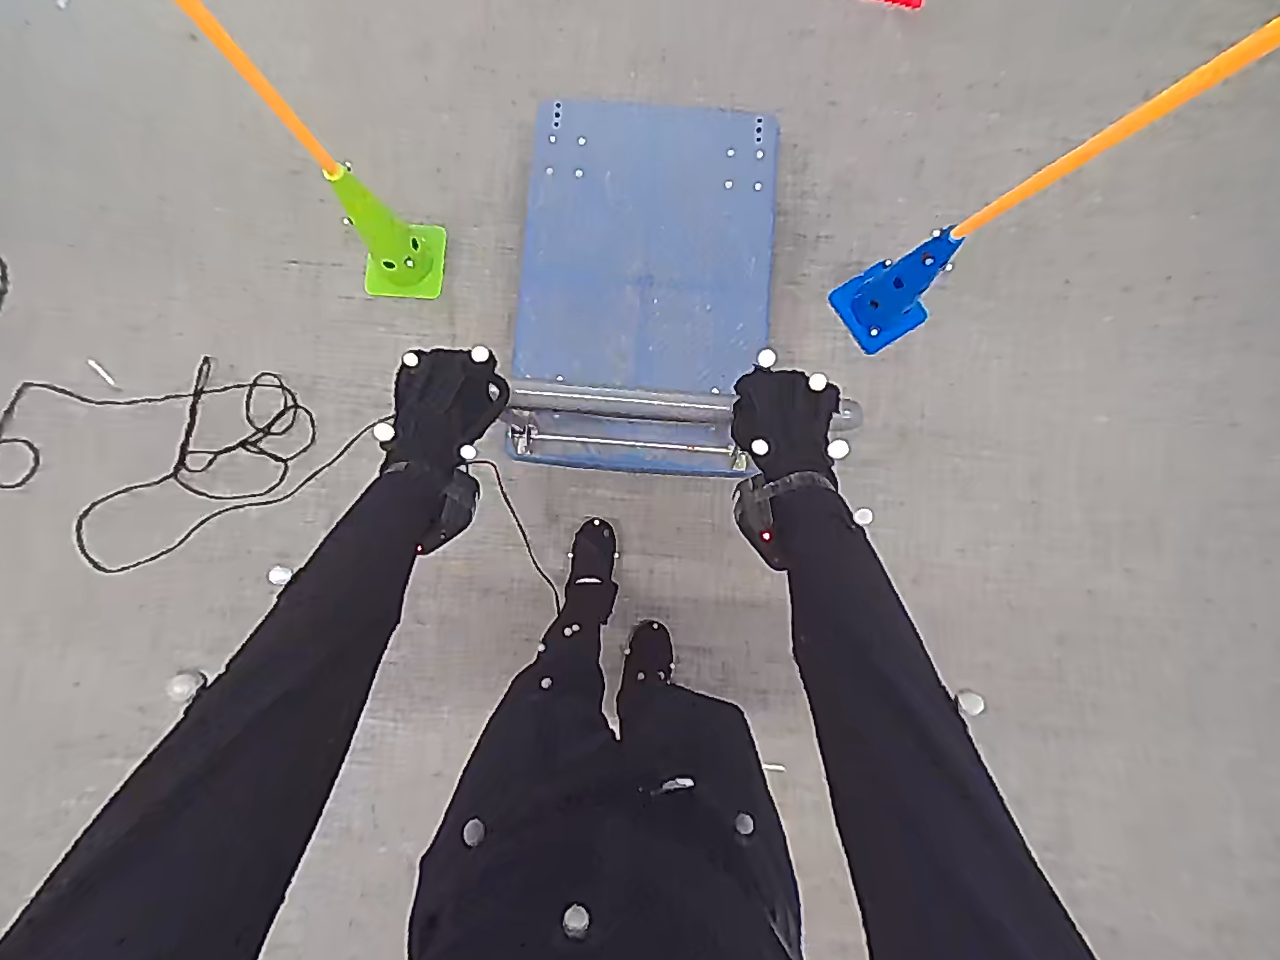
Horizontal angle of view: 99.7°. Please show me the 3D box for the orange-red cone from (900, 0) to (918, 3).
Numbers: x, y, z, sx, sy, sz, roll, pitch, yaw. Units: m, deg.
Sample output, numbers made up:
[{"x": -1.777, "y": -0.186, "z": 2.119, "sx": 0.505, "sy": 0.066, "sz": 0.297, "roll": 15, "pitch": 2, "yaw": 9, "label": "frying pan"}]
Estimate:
[{"x": 0.704, "y": -1.444, "z": 1.335, "sx": 0.198, "sy": 0.360, "sz": 0.199, "roll": 15, "pitch": 85, "yaw": 2, "label": "orange-red cone"}]
